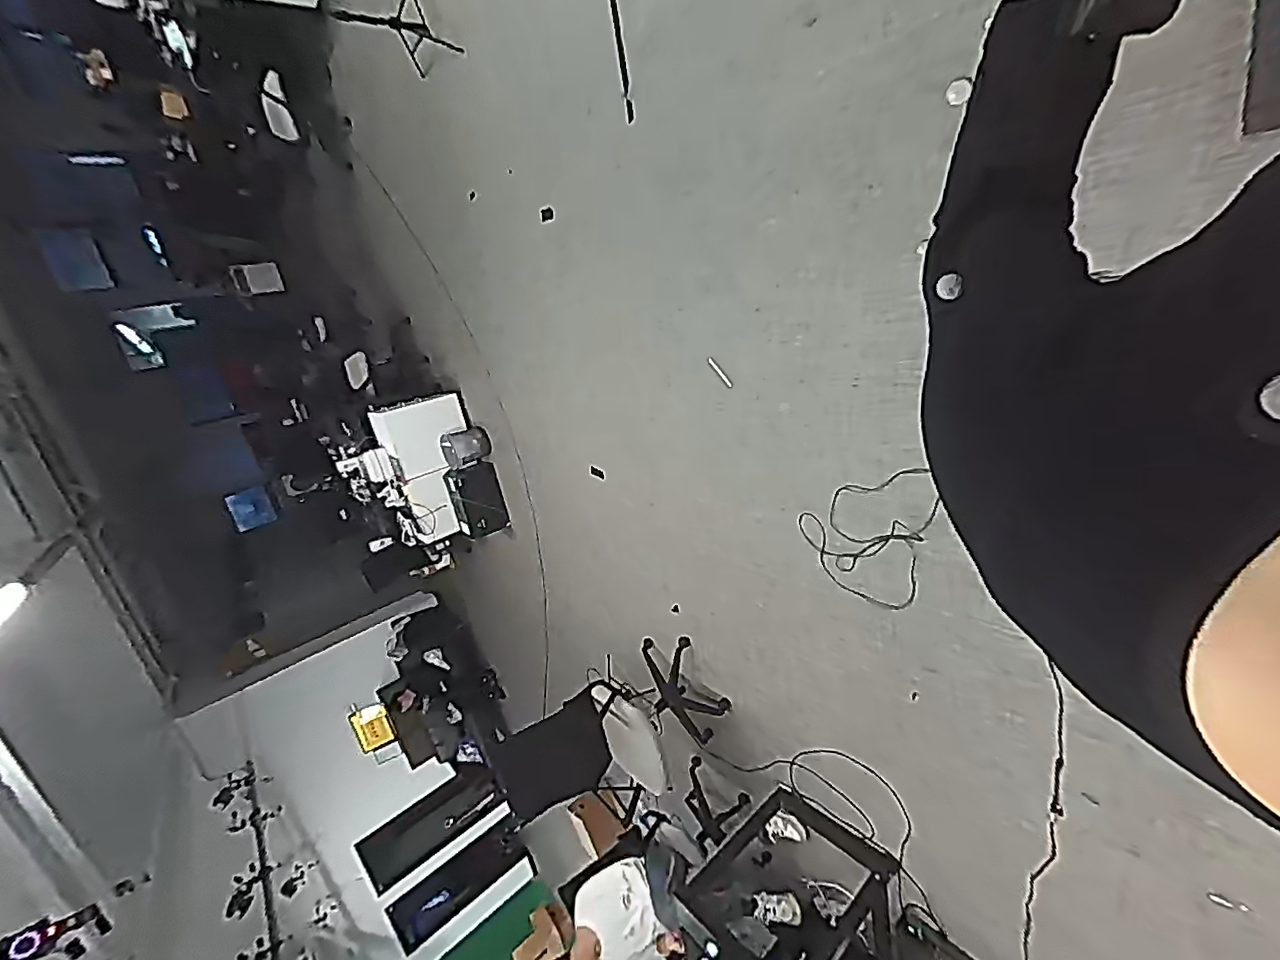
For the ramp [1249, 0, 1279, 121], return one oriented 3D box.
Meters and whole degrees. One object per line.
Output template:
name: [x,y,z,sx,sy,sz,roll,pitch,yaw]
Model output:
ramp: [1.022,-1.004,0.535,0.509,0.206,0.991,7,116,50]
